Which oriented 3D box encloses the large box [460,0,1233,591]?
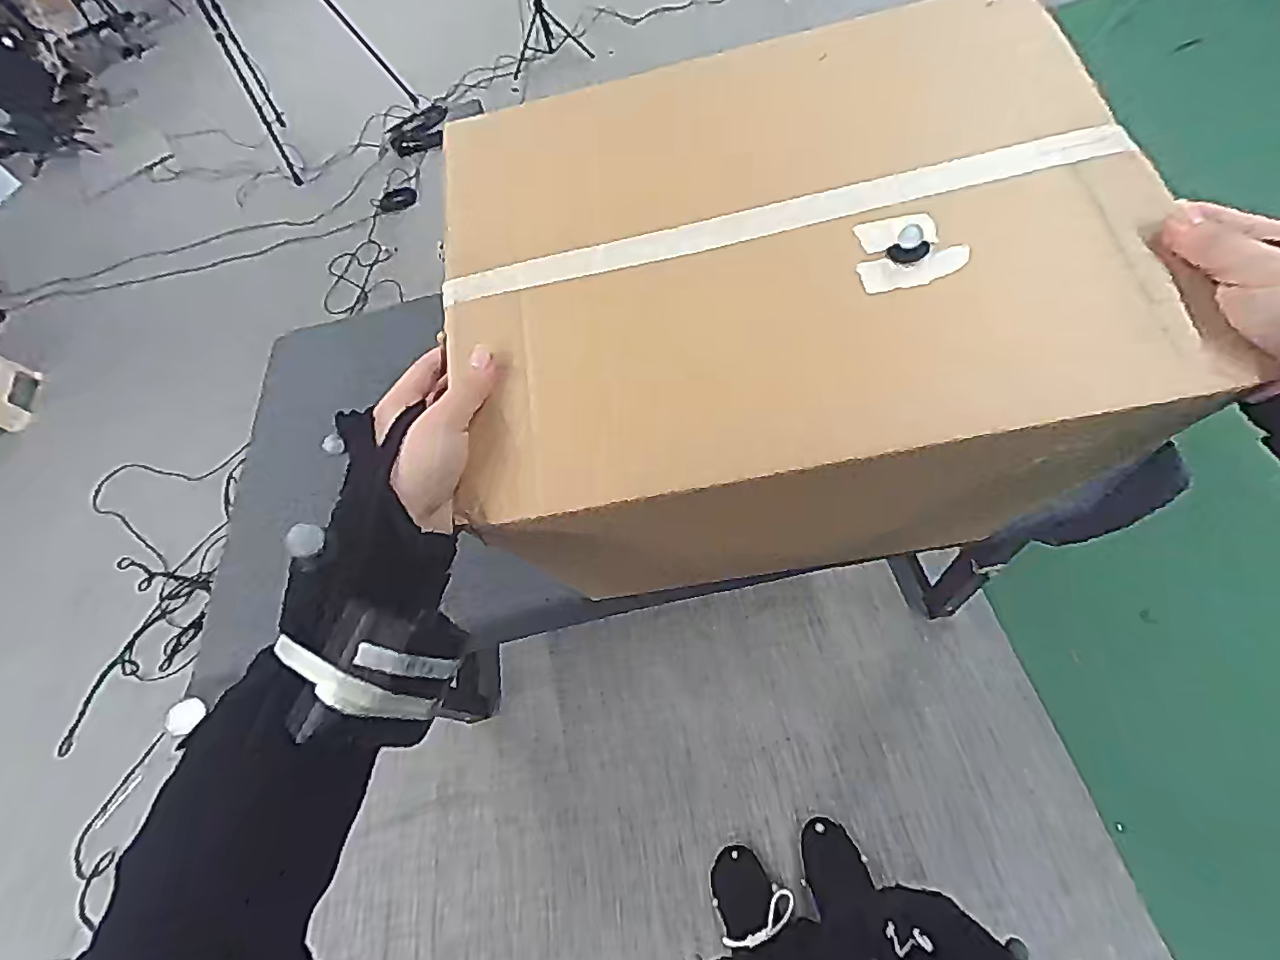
[{"bbox_3d":[0.100,-0.108,0.474,0.408,0.320,0.320,-11,70,5],"label":"large box"}]
